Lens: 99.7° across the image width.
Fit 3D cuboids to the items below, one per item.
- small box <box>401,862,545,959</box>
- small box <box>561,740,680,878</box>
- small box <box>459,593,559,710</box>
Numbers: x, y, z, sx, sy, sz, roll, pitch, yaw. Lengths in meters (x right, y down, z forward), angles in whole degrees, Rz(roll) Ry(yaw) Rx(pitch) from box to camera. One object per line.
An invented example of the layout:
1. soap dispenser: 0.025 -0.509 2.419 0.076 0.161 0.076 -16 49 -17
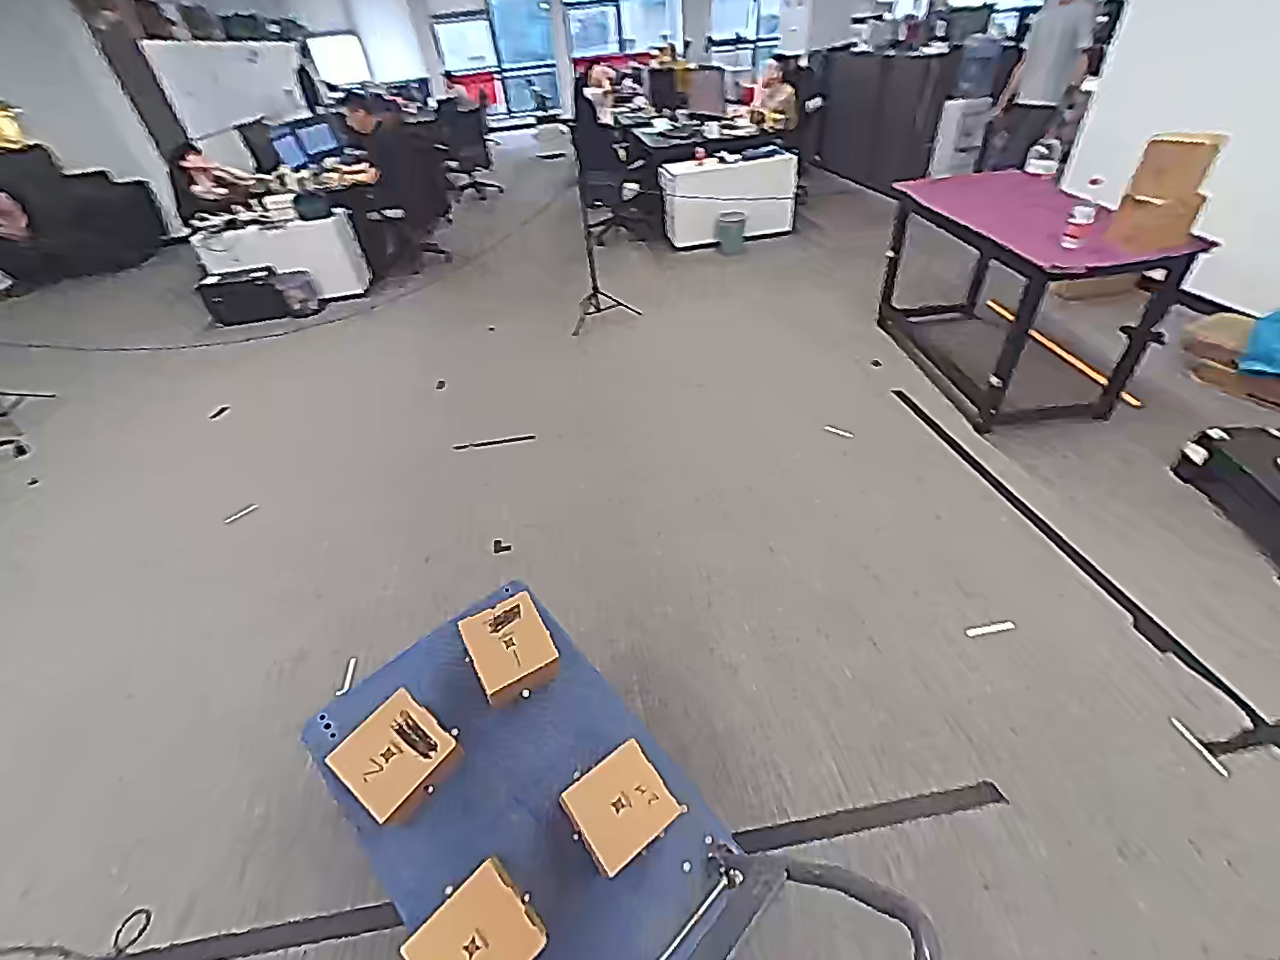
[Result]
1. small box: -0.283 0.817 0.952 0.168 0.176 0.179 42 57 18
2. small box: -0.046 0.667 1.099 0.179 0.176 0.168 -29 66 -26
3. small box: -0.300 0.396 1.239 0.168 0.176 0.179 -23 64 -24
